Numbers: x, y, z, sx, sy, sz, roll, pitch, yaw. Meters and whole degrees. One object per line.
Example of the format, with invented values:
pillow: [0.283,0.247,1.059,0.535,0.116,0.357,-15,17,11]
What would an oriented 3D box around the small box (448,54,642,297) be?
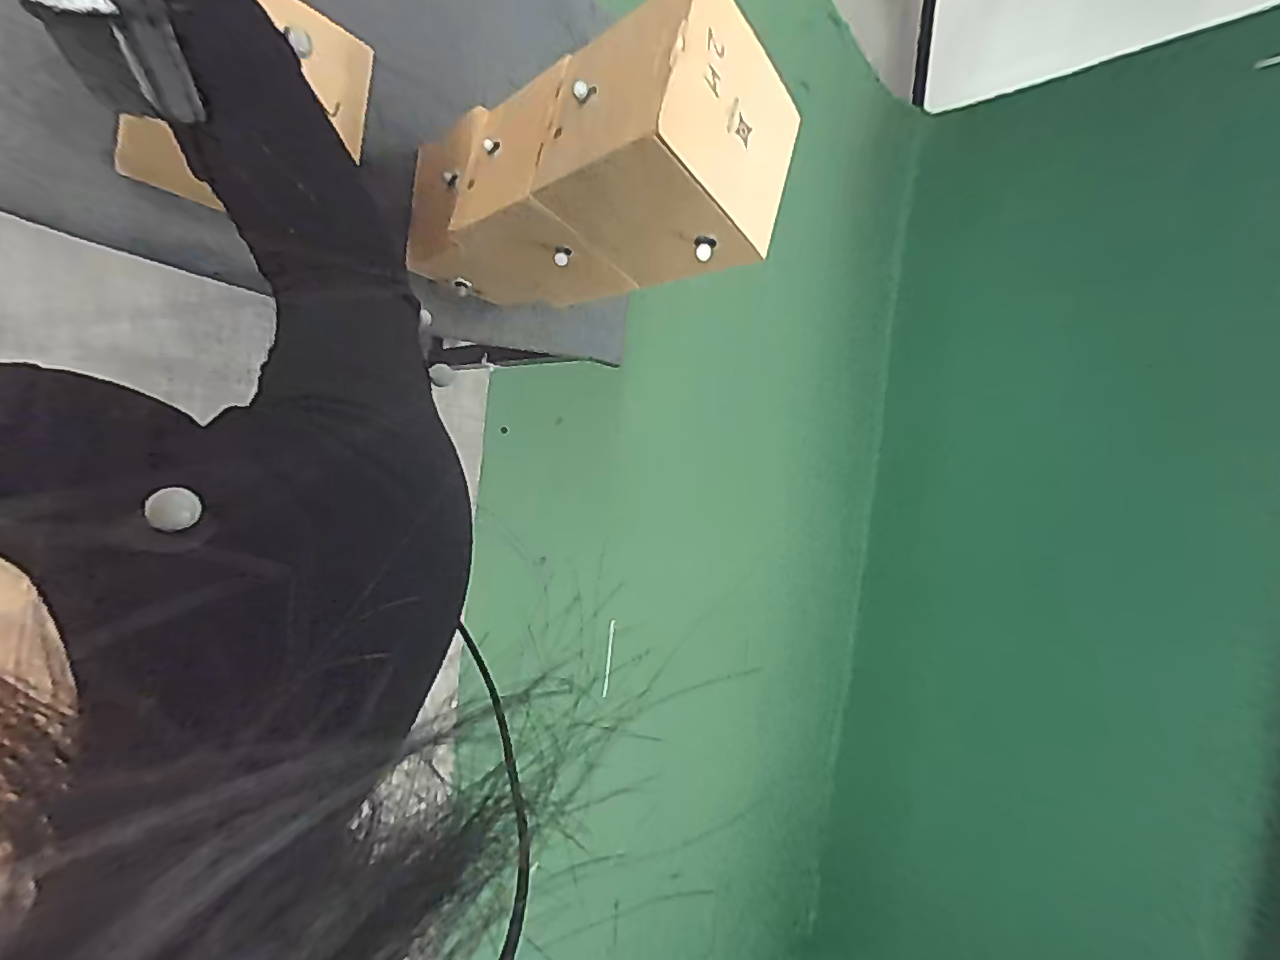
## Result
small box: [-0.094,-0.336,0.644,0.179,0.176,0.168,21,80,-44]

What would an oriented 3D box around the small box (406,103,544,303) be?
small box: [-0.209,-0.366,0.756,0.168,0.176,0.179,6,91,-45]

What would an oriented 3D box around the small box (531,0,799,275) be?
small box: [0.026,-0.323,0.532,0.179,0.176,0.168,23,78,-44]
